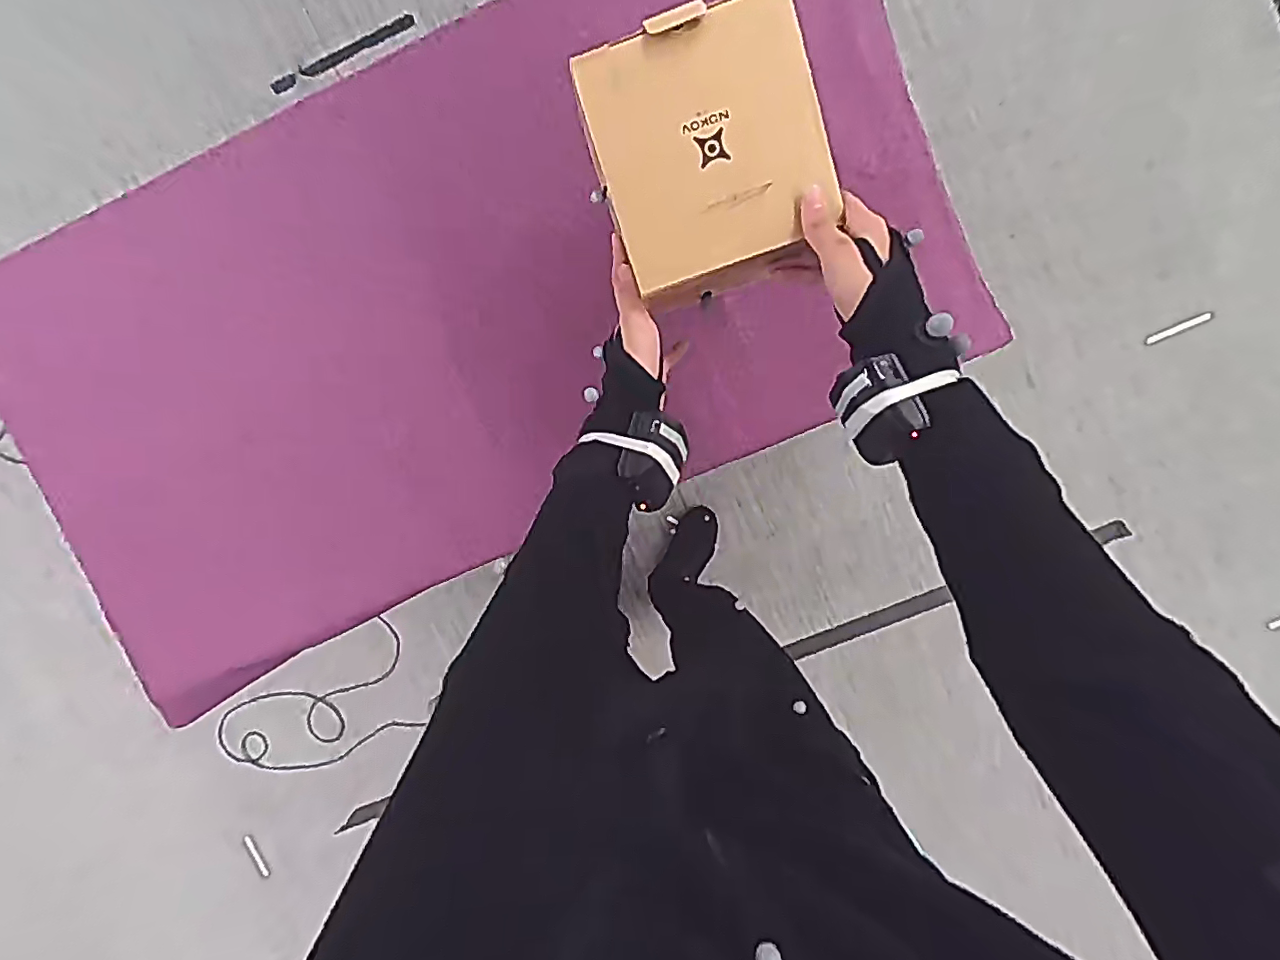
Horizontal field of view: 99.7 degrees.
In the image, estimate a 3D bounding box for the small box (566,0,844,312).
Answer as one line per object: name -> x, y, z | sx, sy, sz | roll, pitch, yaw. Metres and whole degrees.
small box -> 0.049, -0.262, 0.466 | 0.168, 0.176, 0.179 | -17, 100, 4
